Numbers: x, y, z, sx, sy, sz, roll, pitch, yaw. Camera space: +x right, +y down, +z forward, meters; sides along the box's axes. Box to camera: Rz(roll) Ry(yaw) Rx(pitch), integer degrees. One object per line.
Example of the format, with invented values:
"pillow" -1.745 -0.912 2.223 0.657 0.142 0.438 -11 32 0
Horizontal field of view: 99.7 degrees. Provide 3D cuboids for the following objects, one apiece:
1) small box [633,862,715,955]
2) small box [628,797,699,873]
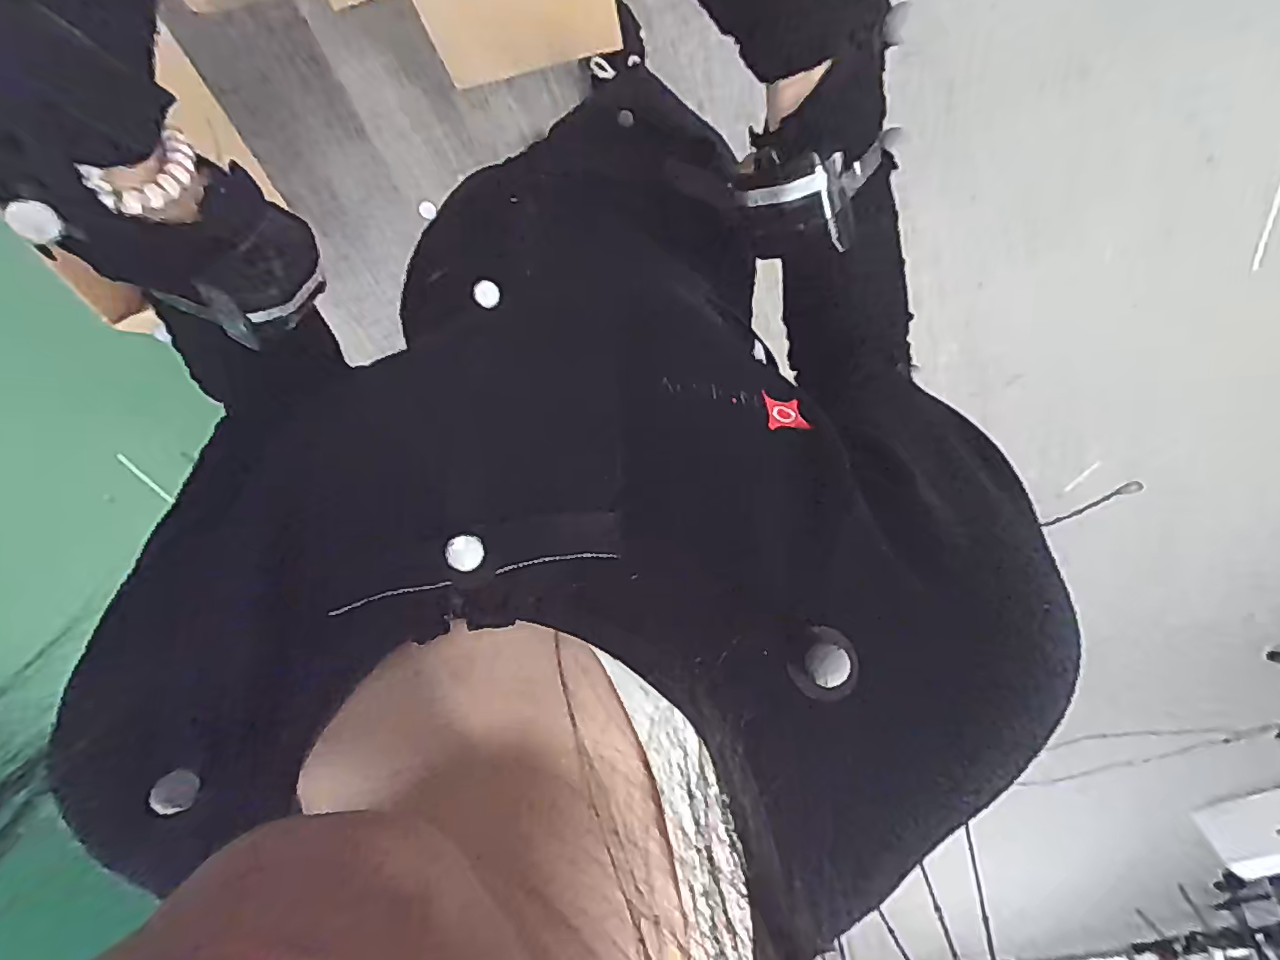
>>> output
"small box" 0.090 1.184 1.497 0.179 0.176 0.168 -19 129 12
"small box" 0.069 1.075 1.617 0.168 0.176 0.179 -18 128 11
